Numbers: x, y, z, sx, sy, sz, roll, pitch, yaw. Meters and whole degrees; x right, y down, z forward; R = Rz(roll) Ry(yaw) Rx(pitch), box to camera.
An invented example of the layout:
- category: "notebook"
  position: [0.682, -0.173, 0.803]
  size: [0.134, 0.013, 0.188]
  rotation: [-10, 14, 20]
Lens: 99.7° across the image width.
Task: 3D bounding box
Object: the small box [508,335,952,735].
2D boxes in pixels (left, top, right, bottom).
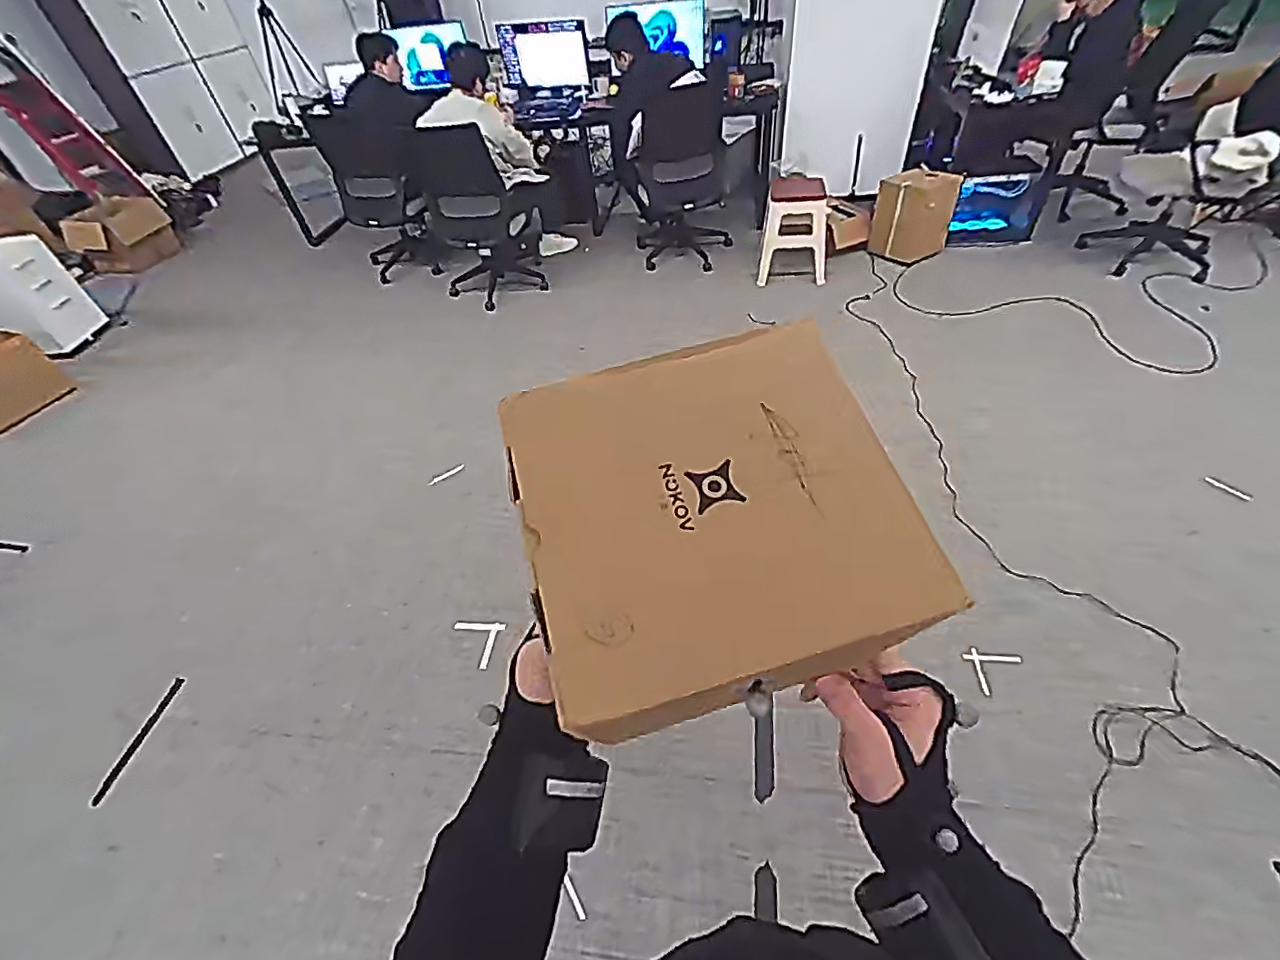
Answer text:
- category: "small box"
  position: [0.037, 0.046, 0.333]
  size: [0.179, 0.176, 0.168]
  rotation: [-16, 63, -6]
